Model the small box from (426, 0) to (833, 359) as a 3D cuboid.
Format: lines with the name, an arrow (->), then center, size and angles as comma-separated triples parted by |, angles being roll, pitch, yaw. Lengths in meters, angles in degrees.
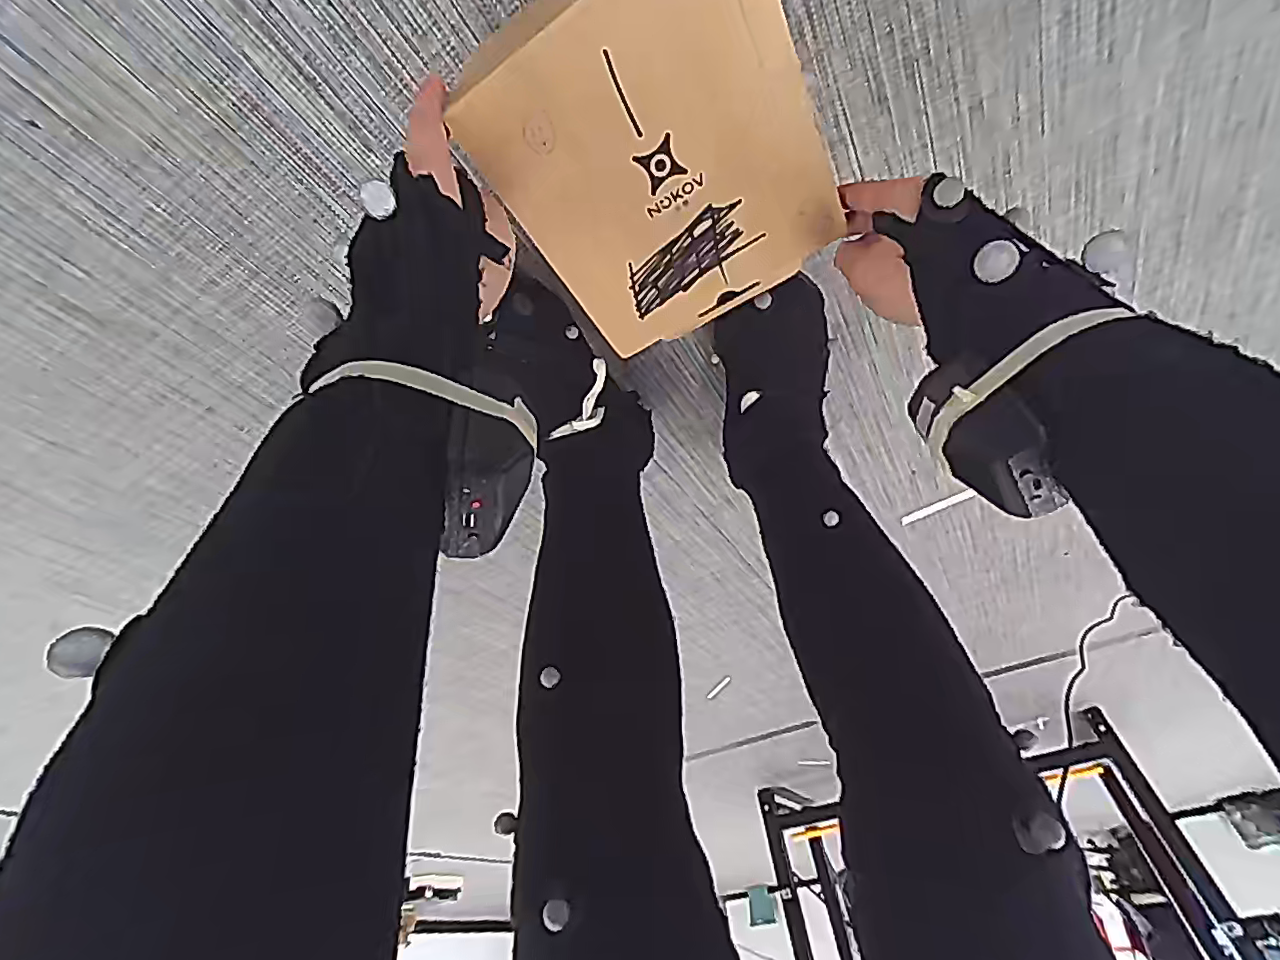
small box -> -0.001, -0.221, 0.350 | 0.168, 0.176, 0.179 | -26, 133, 17
